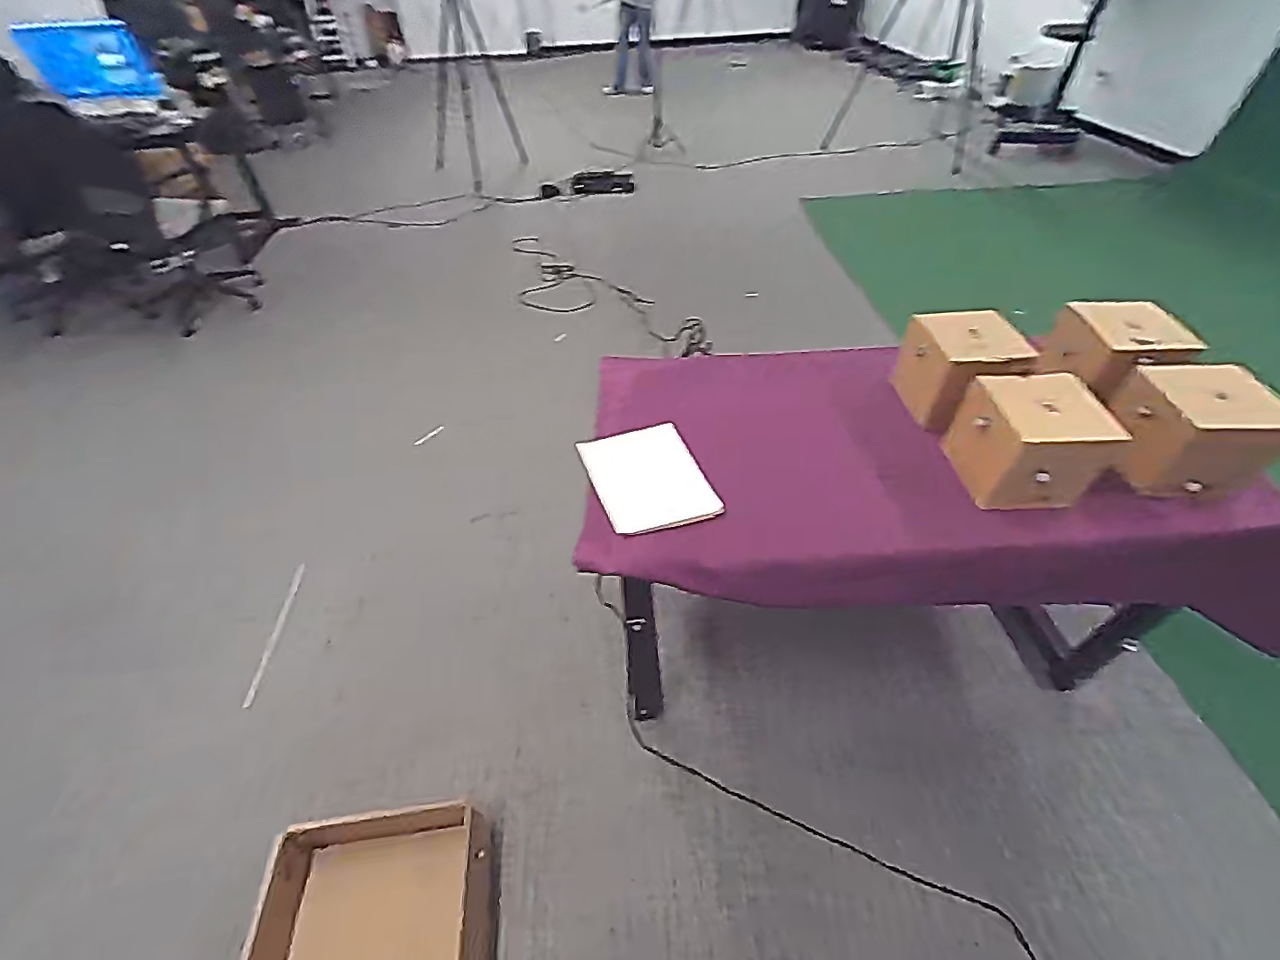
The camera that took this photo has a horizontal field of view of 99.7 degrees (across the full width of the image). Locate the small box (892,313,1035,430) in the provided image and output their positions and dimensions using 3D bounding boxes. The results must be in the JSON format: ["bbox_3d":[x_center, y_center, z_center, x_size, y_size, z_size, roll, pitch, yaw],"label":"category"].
[{"bbox_3d":[0.645,-0.223,1.108,0.168,0.176,0.179,-3,47,-1],"label":"small box"}]

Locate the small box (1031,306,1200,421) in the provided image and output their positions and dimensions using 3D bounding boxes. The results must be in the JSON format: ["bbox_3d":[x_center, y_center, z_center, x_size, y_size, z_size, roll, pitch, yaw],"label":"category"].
[{"bbox_3d":[0.958,-0.241,1.114,0.168,0.176,0.179,0,46,3],"label":"small box"}]

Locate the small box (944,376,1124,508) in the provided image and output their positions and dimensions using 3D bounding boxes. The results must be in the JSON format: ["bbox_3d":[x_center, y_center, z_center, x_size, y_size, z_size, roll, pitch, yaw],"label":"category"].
[{"bbox_3d":[0.676,-0.062,0.955,0.168,0.176,0.179,-2,47,1],"label":"small box"}]
